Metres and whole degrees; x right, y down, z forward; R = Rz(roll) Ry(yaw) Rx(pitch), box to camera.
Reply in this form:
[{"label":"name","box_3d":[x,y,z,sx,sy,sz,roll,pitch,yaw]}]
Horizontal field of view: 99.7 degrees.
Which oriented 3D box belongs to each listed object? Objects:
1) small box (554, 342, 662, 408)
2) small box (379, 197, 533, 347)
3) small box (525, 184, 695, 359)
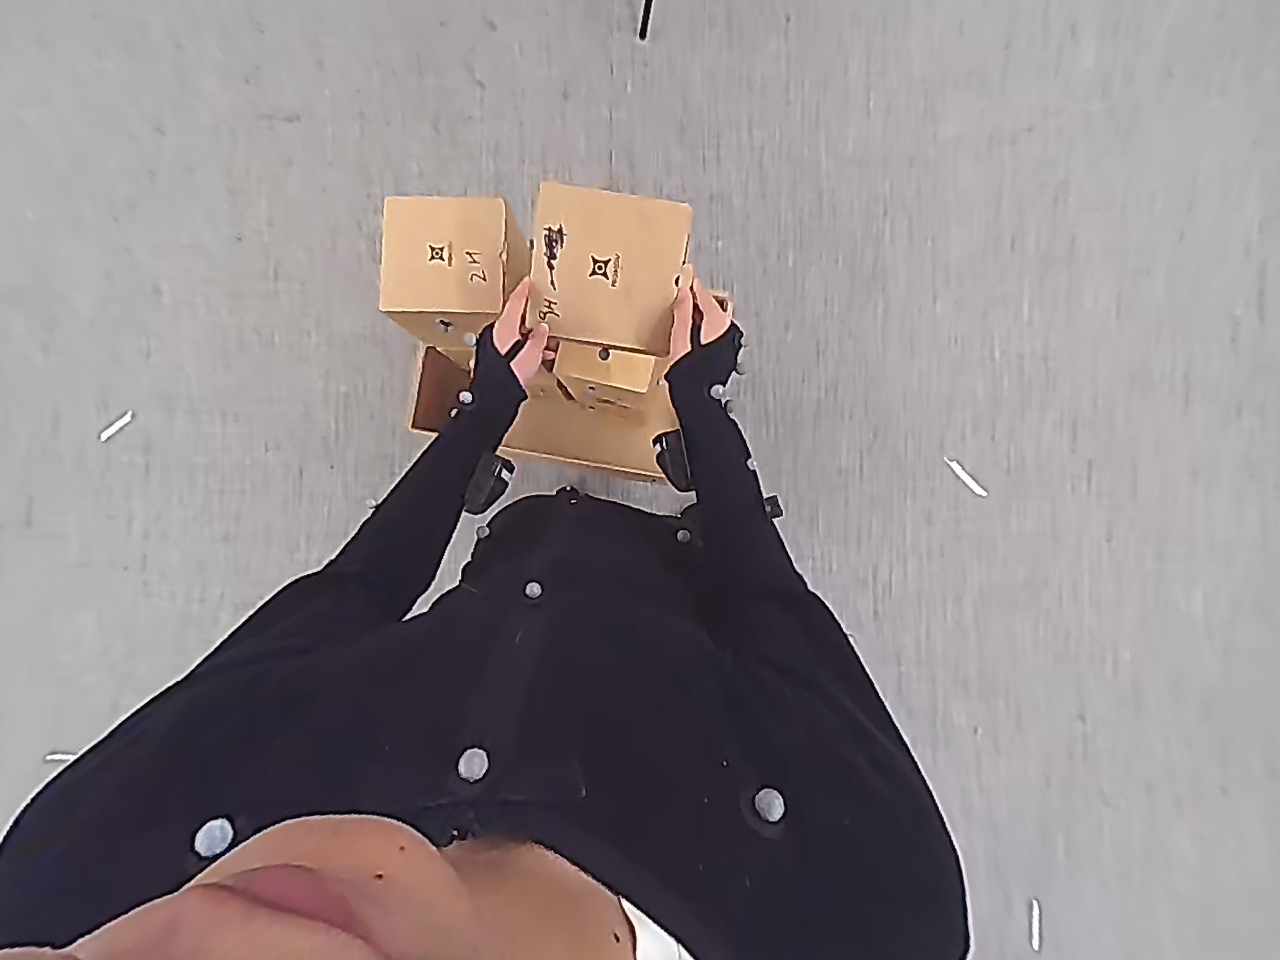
[{"label":"small box","box_3d":[-0.044,-0.242,0.989,0.168,0.176,0.179,14,88,3]},{"label":"small box","box_3d":[-0.271,-0.308,0.830,0.179,0.176,0.168,2,88,0]},{"label":"small box","box_3d":[-0.037,-0.253,0.695,0.179,0.176,0.168,9,102,-2]}]
